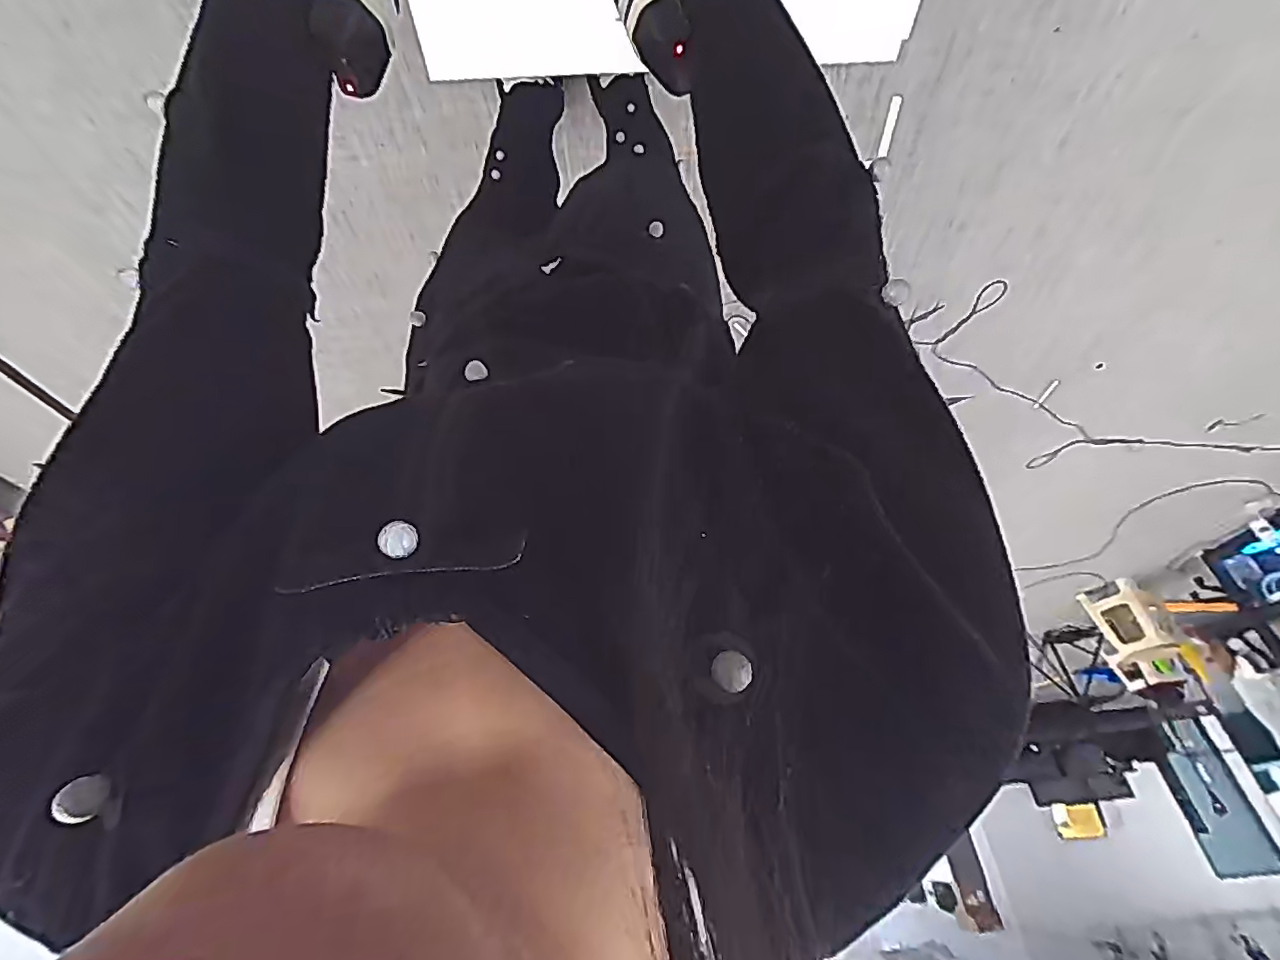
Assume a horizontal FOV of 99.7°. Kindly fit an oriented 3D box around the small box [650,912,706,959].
[{"bbox_3d":[0.121,1.501,1.722,0.168,0.176,0.179,-5,148,0],"label":"small box"}]
